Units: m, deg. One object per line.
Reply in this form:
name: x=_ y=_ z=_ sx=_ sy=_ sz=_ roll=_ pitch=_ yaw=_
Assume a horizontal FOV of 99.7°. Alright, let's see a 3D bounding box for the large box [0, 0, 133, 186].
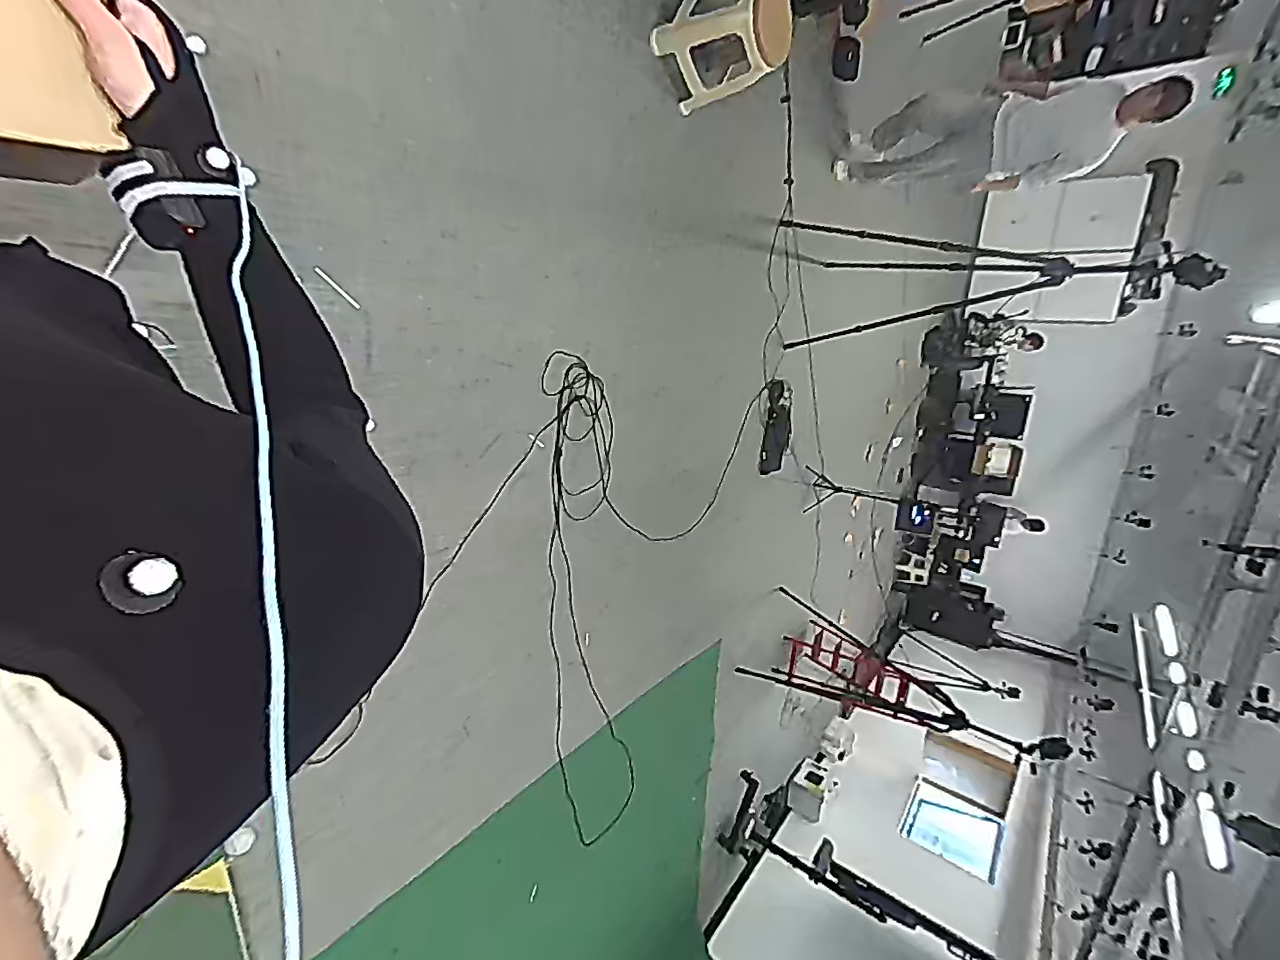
large box: x=-0.654 y=-0.394 z=0.339 sx=0.408 sy=0.320 sz=0.320 roll=-20 pitch=120 yaw=-47
